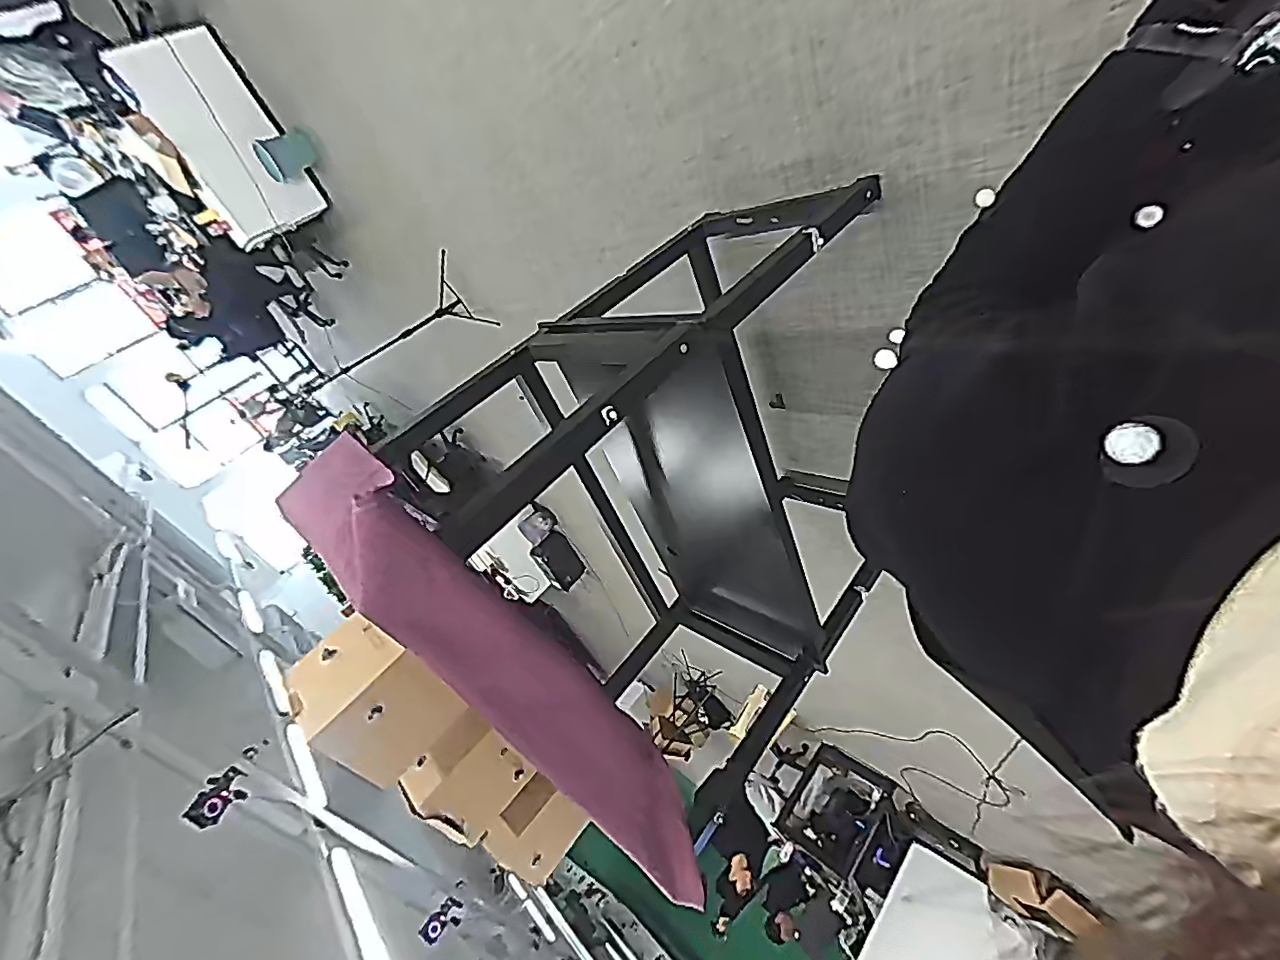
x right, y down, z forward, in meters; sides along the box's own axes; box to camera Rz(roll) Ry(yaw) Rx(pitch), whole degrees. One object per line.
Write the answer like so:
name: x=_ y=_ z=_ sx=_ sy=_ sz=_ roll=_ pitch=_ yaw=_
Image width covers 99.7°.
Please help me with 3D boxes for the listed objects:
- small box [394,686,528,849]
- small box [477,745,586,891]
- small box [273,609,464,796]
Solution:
small box: x=-0.331 y=0.515 z=0.988 sx=0.179 sy=0.176 sz=0.168 roll=18 pitch=143 yaw=46
small box: x=-0.243 y=0.705 z=1.139 sx=0.168 sy=0.176 sz=0.179 roll=19 pitch=144 yaw=43
small box: x=-0.410 y=0.333 z=0.834 sx=0.168 sy=0.176 sz=0.179 roll=22 pitch=147 yaw=43
